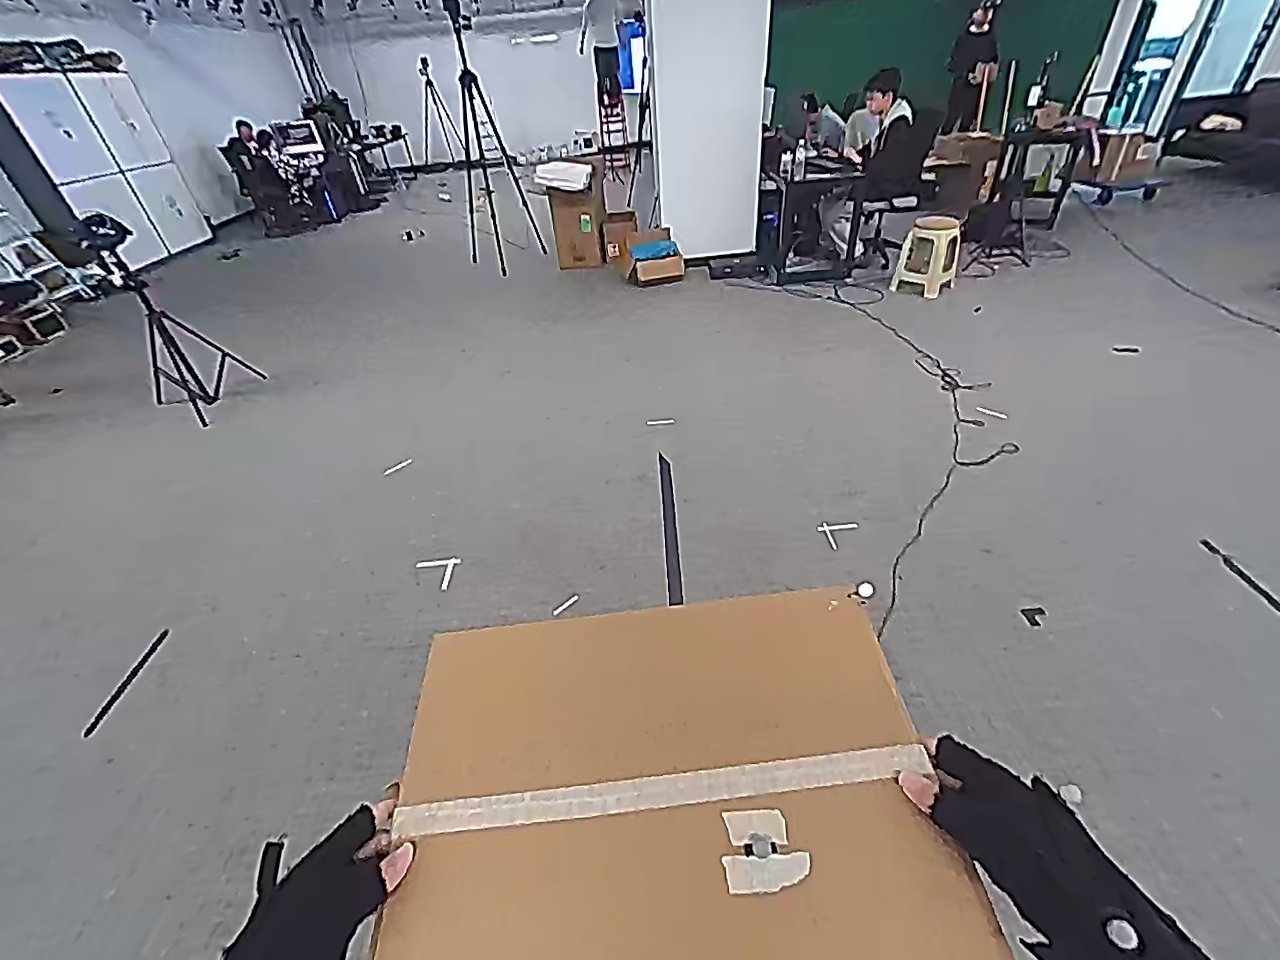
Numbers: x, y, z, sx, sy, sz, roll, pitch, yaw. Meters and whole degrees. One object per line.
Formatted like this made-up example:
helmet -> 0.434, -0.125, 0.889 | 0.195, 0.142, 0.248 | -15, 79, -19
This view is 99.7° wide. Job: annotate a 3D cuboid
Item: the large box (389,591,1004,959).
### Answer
large box -> 0.031, 0.346, 0.526 | 0.408, 0.320, 0.320 | -7, 46, 0
